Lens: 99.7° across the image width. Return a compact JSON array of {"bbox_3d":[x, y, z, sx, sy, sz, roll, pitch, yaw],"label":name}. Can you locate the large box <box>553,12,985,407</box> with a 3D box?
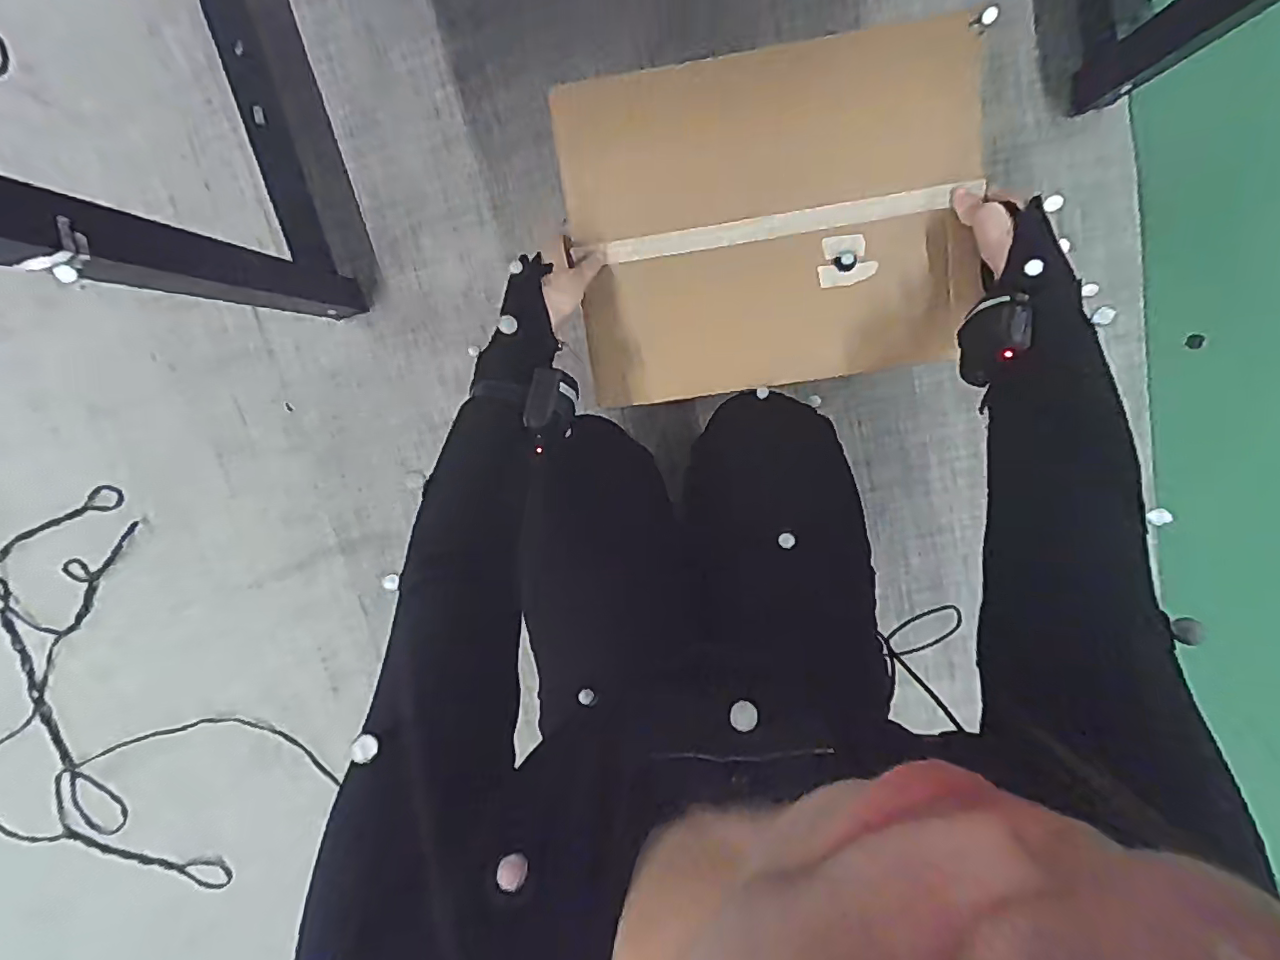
[{"bbox_3d":[0.136,-0.281,0.682,0.408,0.320,0.320,-8,101,3],"label":"large box"}]
